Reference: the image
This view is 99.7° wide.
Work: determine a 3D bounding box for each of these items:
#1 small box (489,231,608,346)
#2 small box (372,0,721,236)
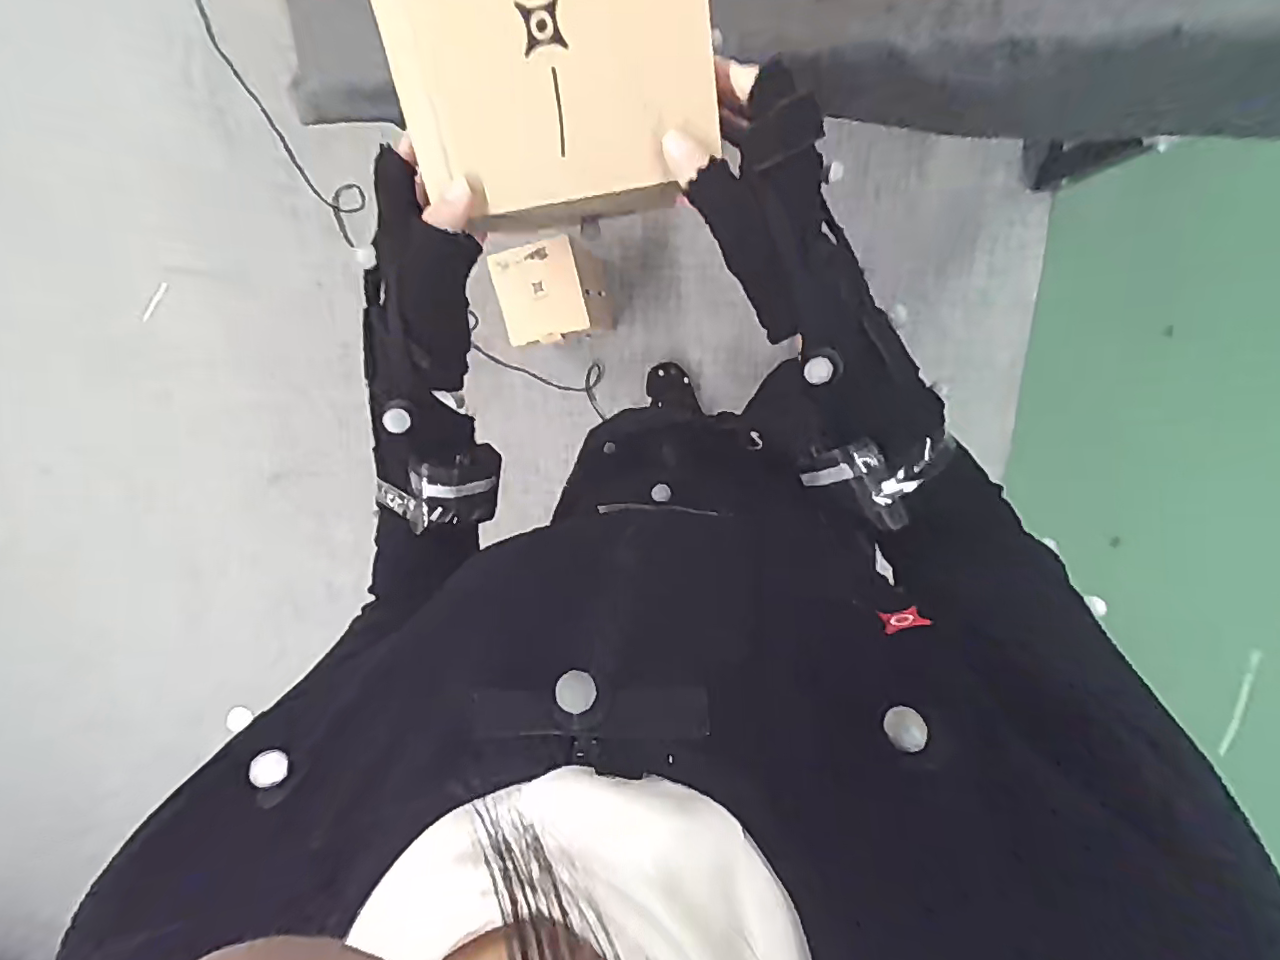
[{"bbox_3d":[-0.177,-0.385,1.107,0.168,0.176,0.179,-13,103,12],"label":"small box"},{"bbox_3d":[-0.048,-0.266,0.339,0.168,0.176,0.179,-9,110,6],"label":"small box"}]
